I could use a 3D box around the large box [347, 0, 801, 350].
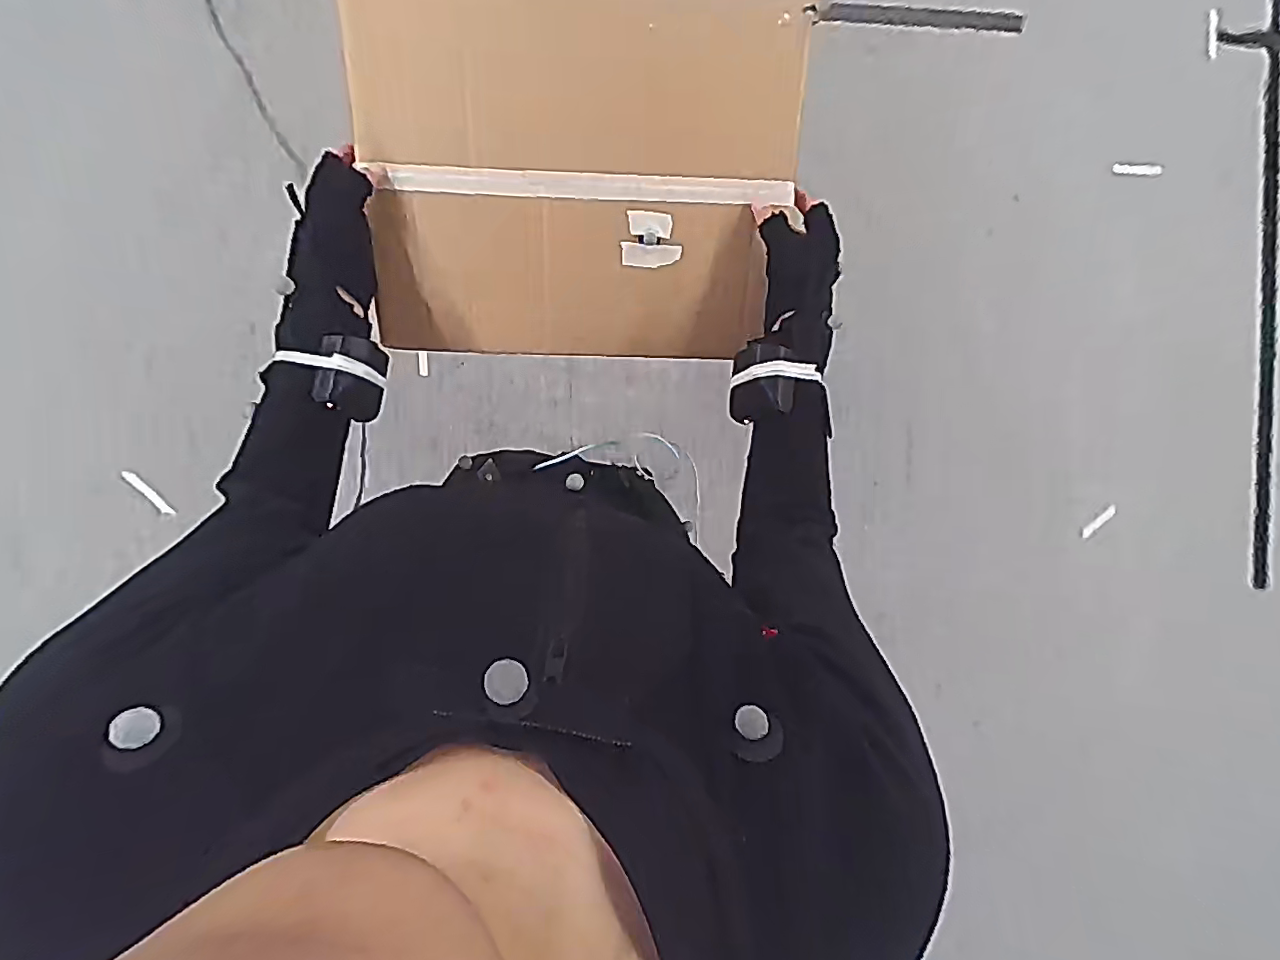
[{"bbox_3d":[-0.066,-0.334,0.659,0.408,0.320,0.320,0,111,-4],"label":"large box"}]
